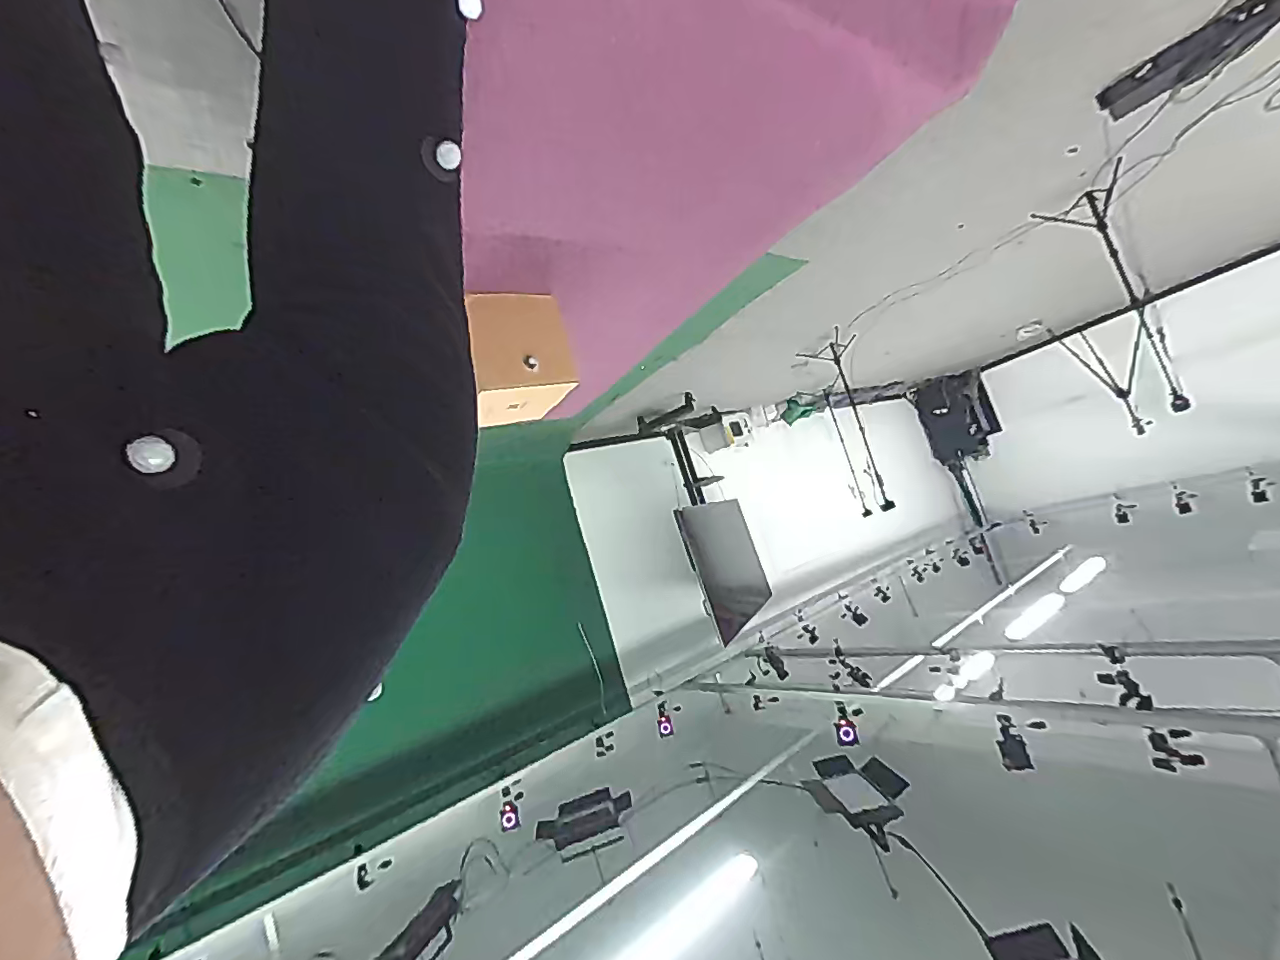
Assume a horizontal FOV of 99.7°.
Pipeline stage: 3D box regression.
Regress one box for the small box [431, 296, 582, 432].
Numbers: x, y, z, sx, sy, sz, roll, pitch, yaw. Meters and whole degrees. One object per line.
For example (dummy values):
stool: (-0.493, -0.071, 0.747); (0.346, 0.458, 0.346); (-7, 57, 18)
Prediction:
small box: (-0.229, -0.196, 0.917); (0.179, 0.176, 0.168); (-13, 171, -37)
